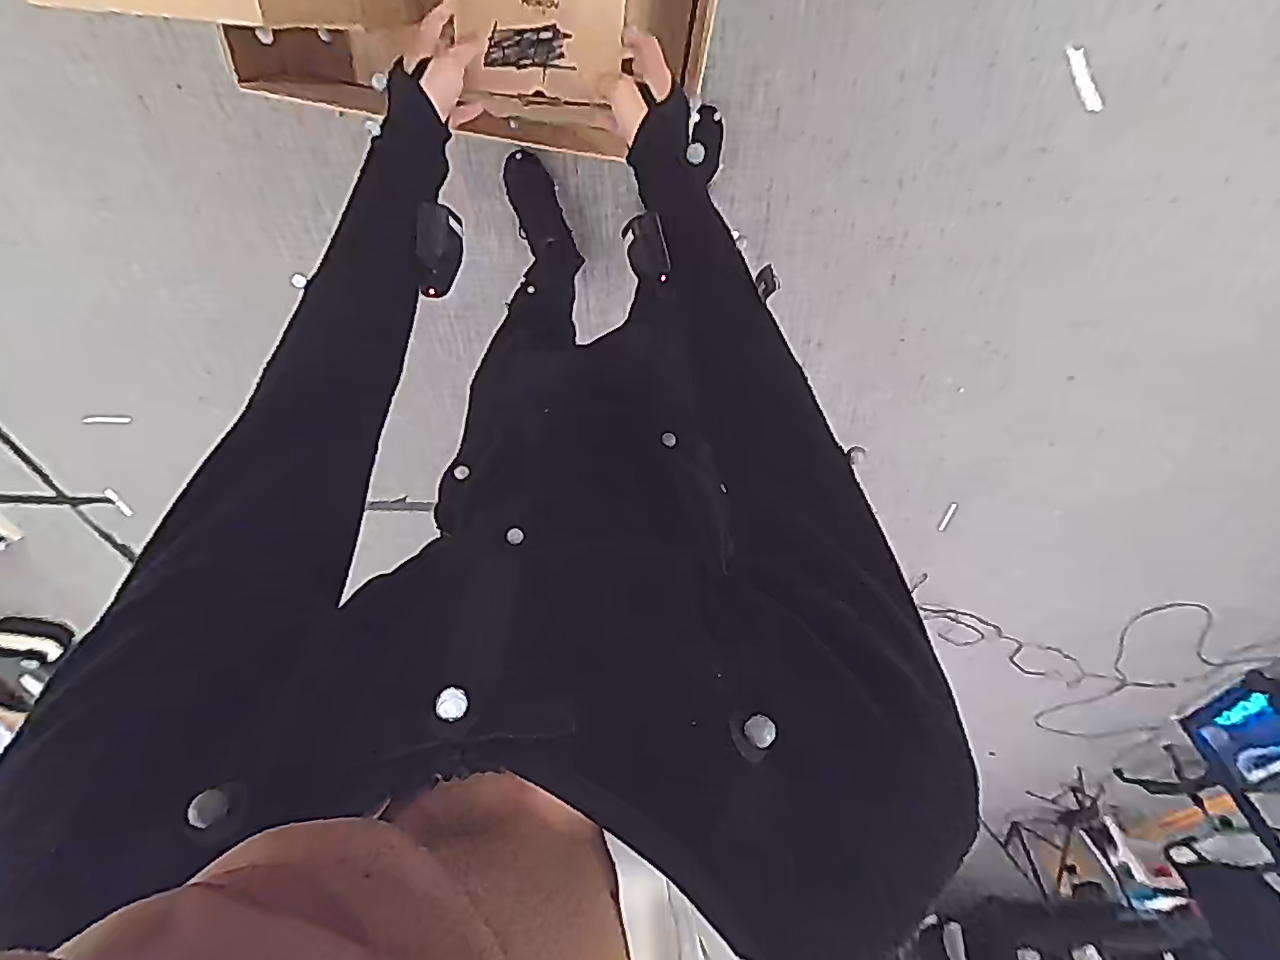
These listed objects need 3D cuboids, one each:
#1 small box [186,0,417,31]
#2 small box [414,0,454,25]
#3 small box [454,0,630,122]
[{"bbox_3d":[-0.338,-0.555,0.522,0.168,0.176,0.179,4,132,0],"label":"small box"},{"bbox_3d":[-0.324,-0.662,0.645,0.179,0.176,0.168,5,133,-3],"label":"small box"},{"bbox_3d":[-0.096,-0.504,0.582,0.168,0.176,0.179,4,117,-3],"label":"small box"}]
